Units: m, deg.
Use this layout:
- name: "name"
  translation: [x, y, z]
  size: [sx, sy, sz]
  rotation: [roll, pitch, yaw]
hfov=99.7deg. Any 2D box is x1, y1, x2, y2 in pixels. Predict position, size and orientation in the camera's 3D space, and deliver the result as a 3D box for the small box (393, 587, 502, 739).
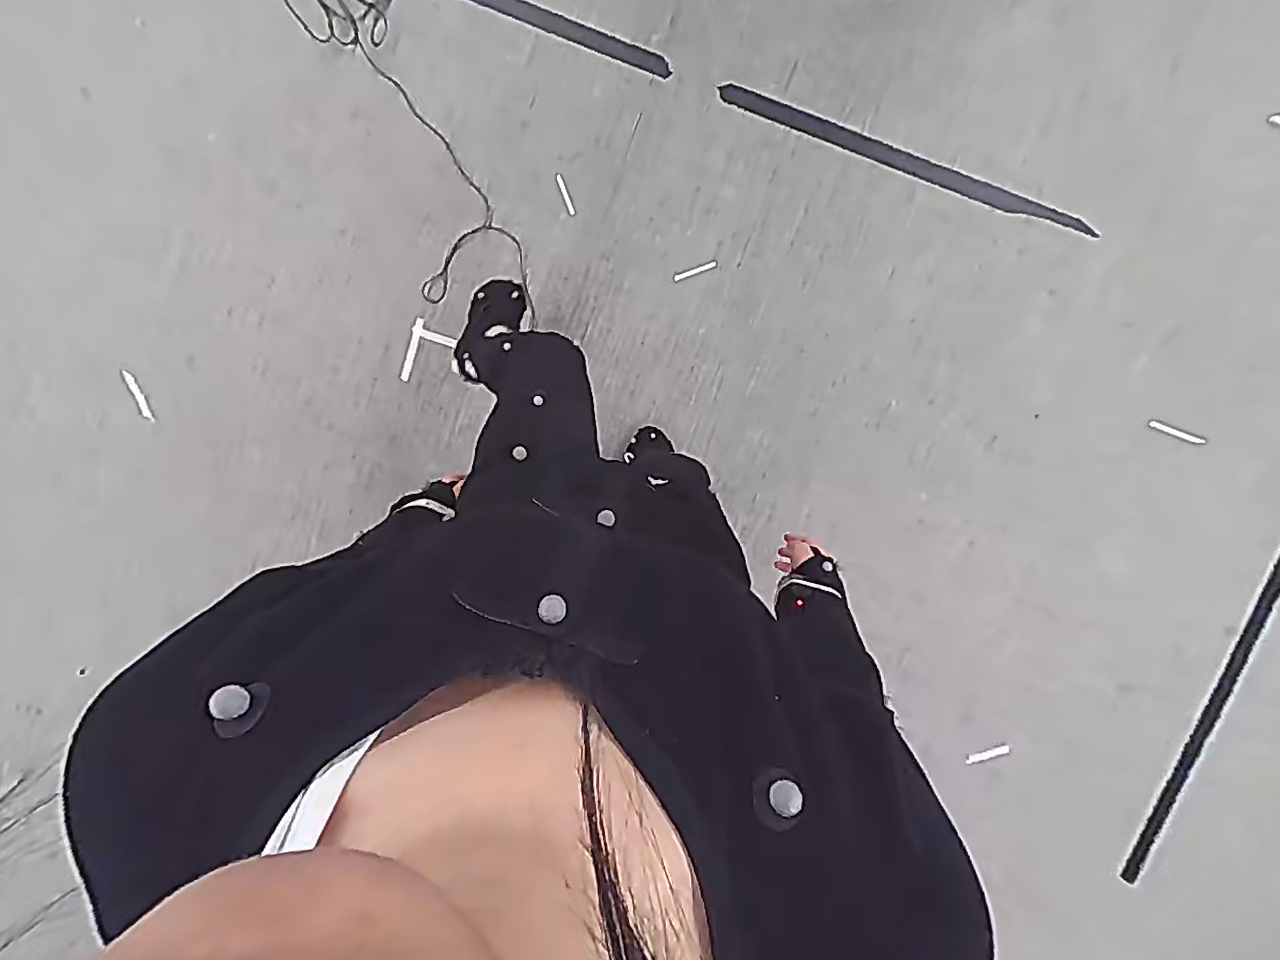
- name: "small box"
  translation: [-0.367, 0.316, 0.974]
  size: [0.168, 0.176, 0.179]
  rotation: [25, 95, -1]
